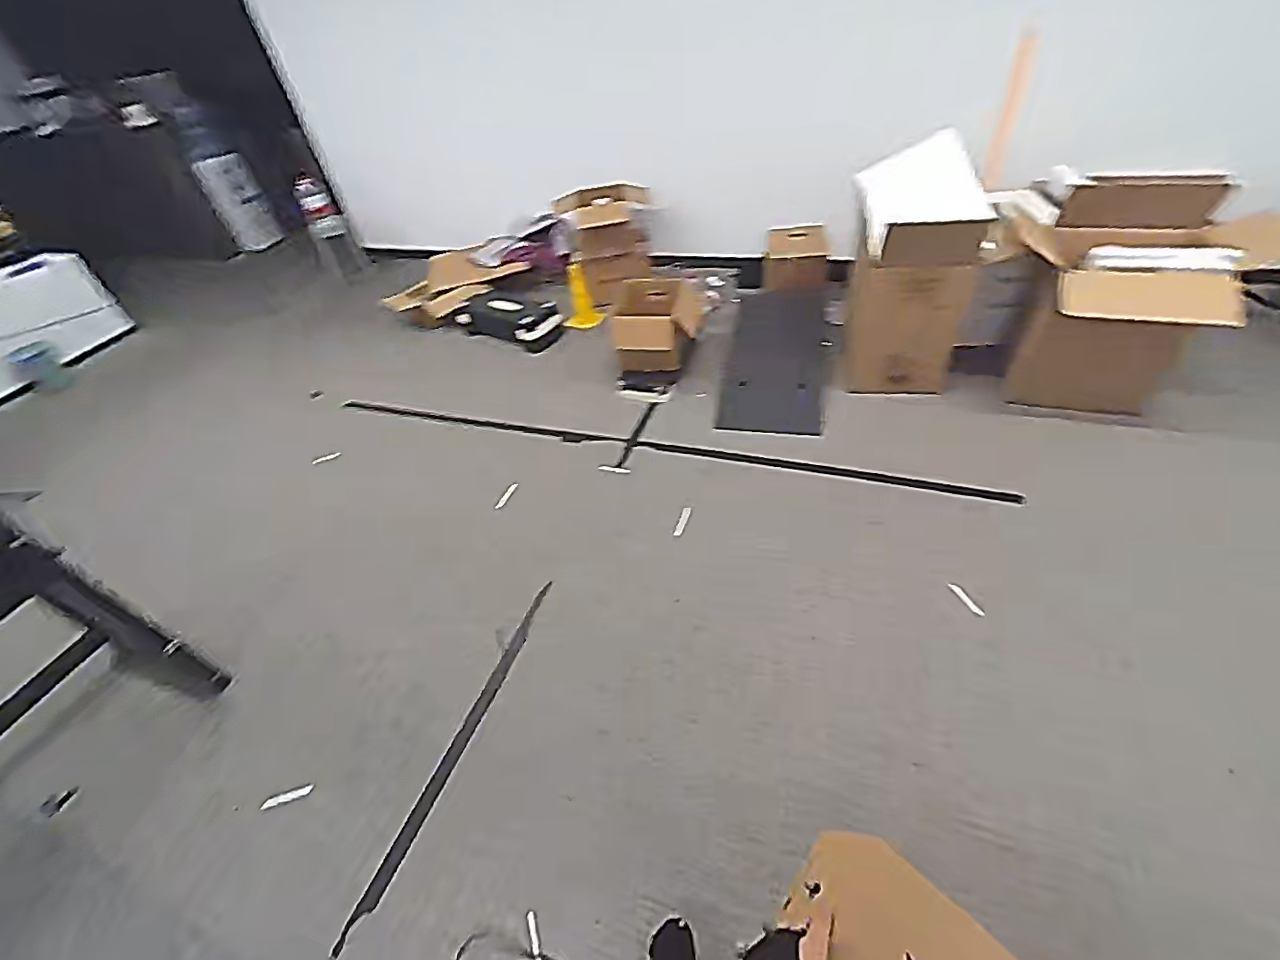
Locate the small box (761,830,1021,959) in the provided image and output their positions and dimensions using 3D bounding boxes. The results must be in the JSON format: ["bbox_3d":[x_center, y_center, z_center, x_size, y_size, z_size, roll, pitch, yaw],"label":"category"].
[{"bbox_3d":[0.259,0.520,0.591,0.179,0.176,0.168,38,64,16],"label":"small box"}]
